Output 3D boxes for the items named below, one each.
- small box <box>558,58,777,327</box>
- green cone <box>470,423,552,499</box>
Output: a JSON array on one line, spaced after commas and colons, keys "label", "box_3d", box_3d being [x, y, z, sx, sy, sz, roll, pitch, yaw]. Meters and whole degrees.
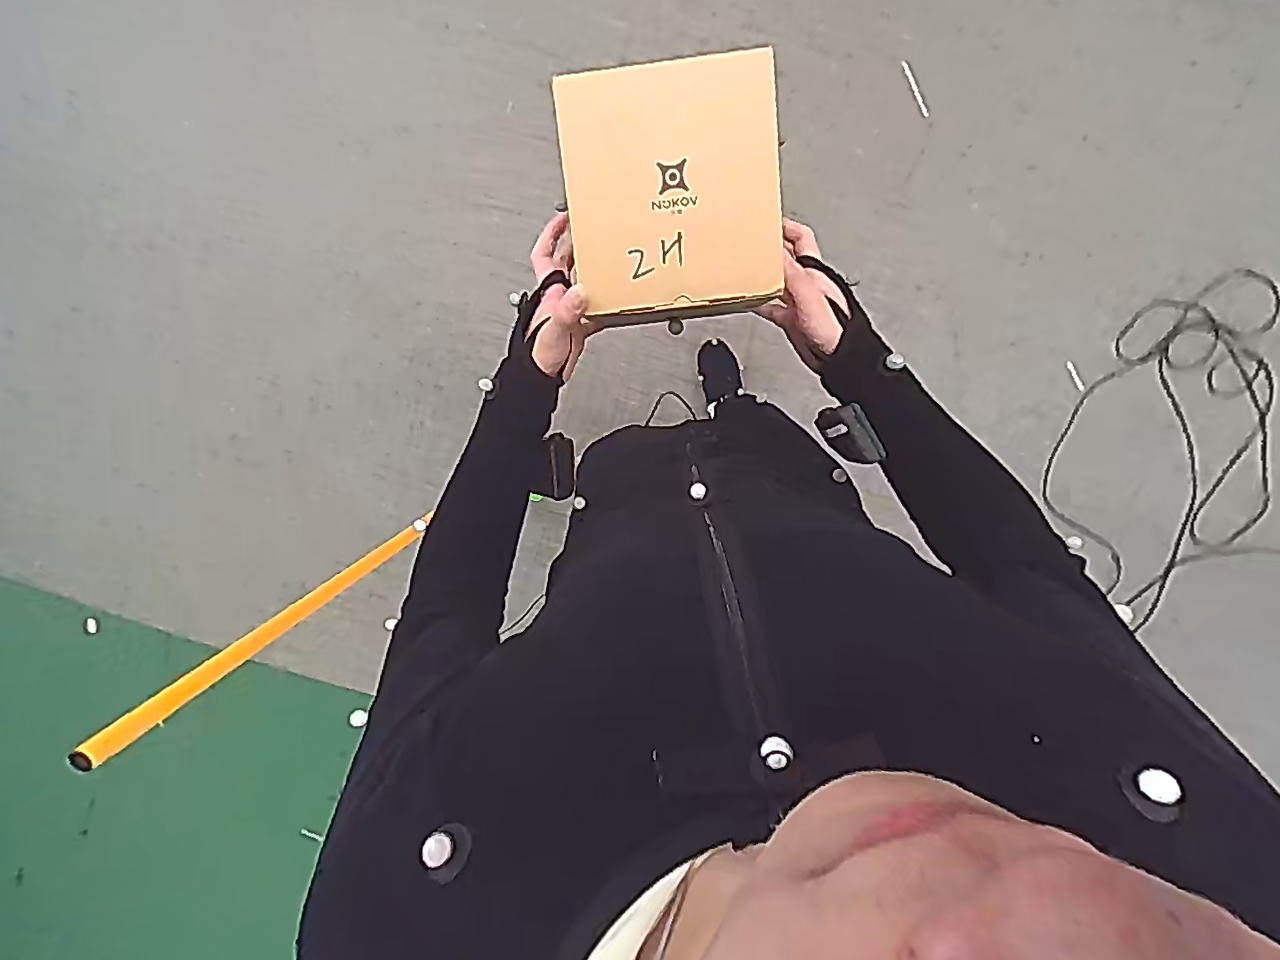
[{"label": "small box", "box_3d": [0.025, -0.244, 0.504, 0.168, 0.176, 0.179, -5, 103, 2]}, {"label": "green cone", "box_3d": [-0.390, -0.017, 1.479, 0.202, 0.368, 0.200, 18, 103, -2]}]
